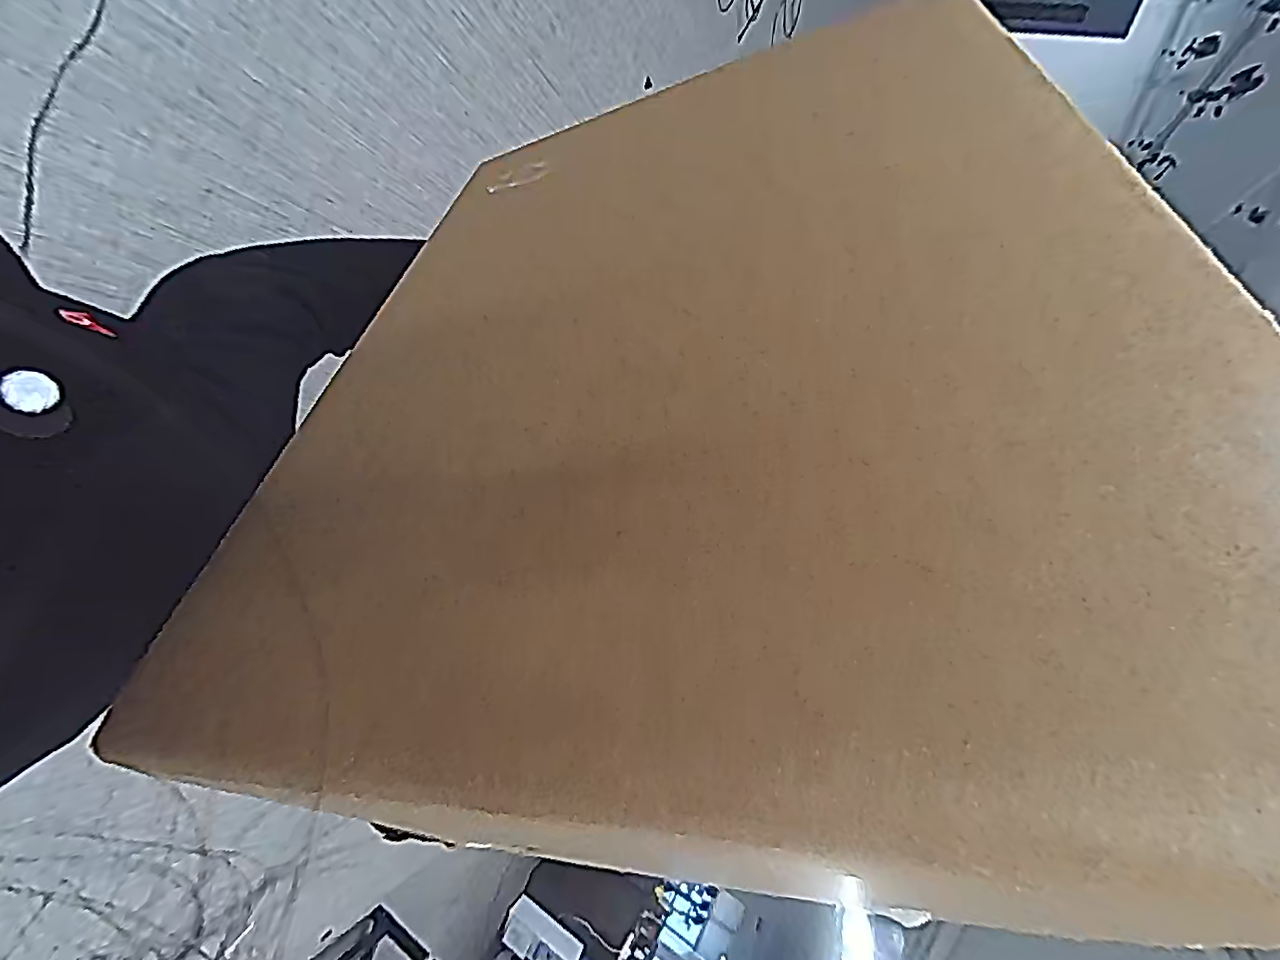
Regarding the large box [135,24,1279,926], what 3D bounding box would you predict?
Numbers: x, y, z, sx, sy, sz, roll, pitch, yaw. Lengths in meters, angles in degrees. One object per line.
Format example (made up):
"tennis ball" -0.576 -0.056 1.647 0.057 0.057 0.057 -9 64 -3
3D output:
"large box" 0.051 0.000 0.347 0.320 0.320 0.408 61 31 -46
